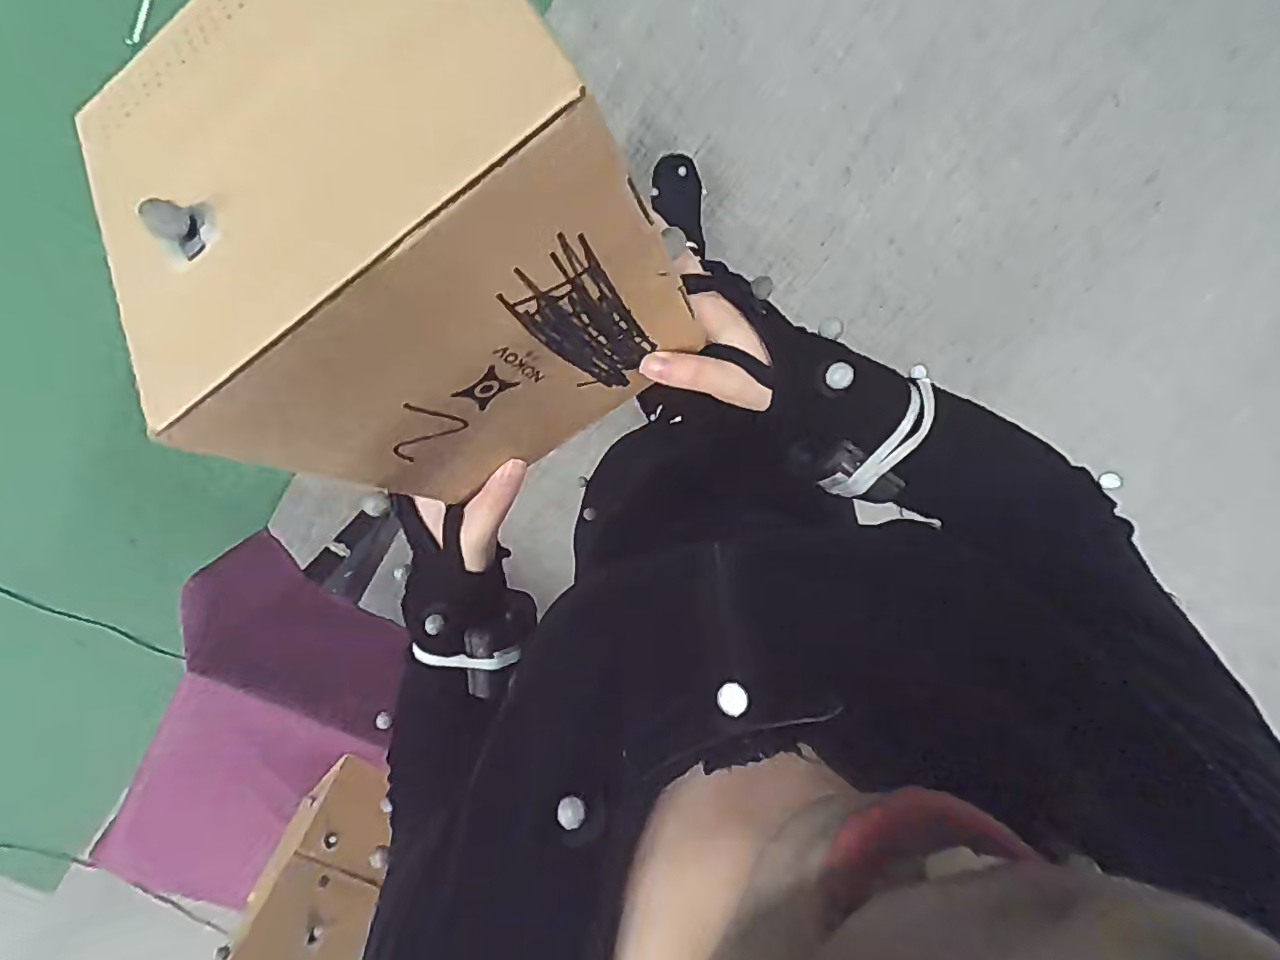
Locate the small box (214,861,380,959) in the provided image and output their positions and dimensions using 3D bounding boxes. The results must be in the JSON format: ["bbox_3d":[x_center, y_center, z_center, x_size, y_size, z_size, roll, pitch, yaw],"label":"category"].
[{"bbox_3d":[-0.492,0.674,0.746,0.168,0.176,0.179,35,109,-14],"label":"small box"}]

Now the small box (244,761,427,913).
[{"bbox_3d":[-0.489,0.609,0.897,0.179,0.176,0.168,39,109,-15],"label":"small box"}]
